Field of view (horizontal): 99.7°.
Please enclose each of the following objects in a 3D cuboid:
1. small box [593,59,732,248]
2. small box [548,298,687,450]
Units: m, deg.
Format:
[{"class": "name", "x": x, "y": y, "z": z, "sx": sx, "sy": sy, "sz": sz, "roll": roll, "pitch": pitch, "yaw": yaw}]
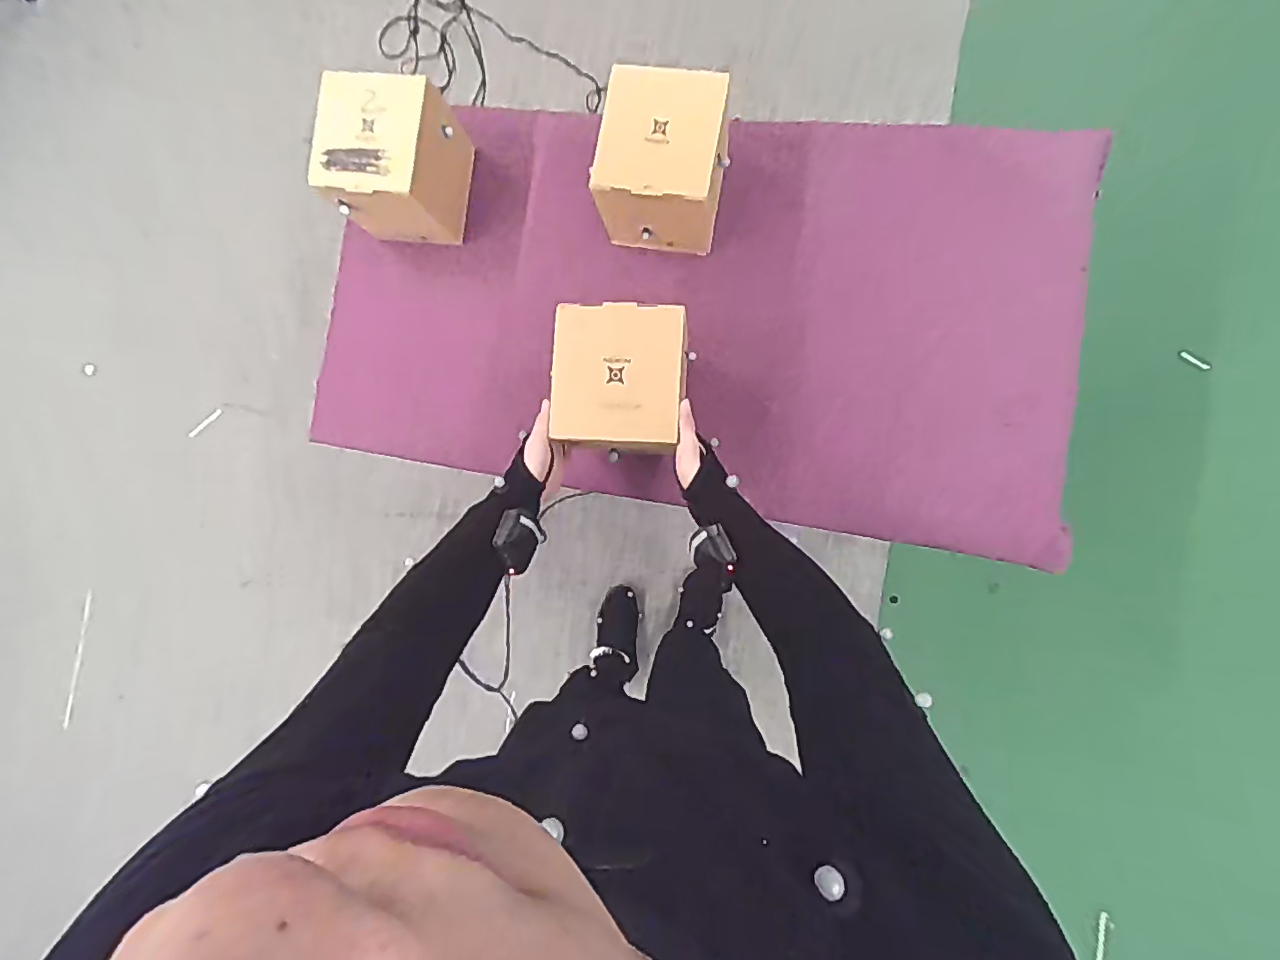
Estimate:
[{"class": "small box", "x": 0.039, "y": -0.481, "z": 0.817, "sx": 0.168, "sy": 0.176, "sz": 0.179, "roll": 11, "pitch": 92, "yaw": 9}, {"class": "small box", "x": -0.022, "y": -0.141, "z": 0.765, "sx": 0.168, "sy": 0.176, "sz": 0.179, "roll": 4, "pitch": 89, "yaw": 8}]
